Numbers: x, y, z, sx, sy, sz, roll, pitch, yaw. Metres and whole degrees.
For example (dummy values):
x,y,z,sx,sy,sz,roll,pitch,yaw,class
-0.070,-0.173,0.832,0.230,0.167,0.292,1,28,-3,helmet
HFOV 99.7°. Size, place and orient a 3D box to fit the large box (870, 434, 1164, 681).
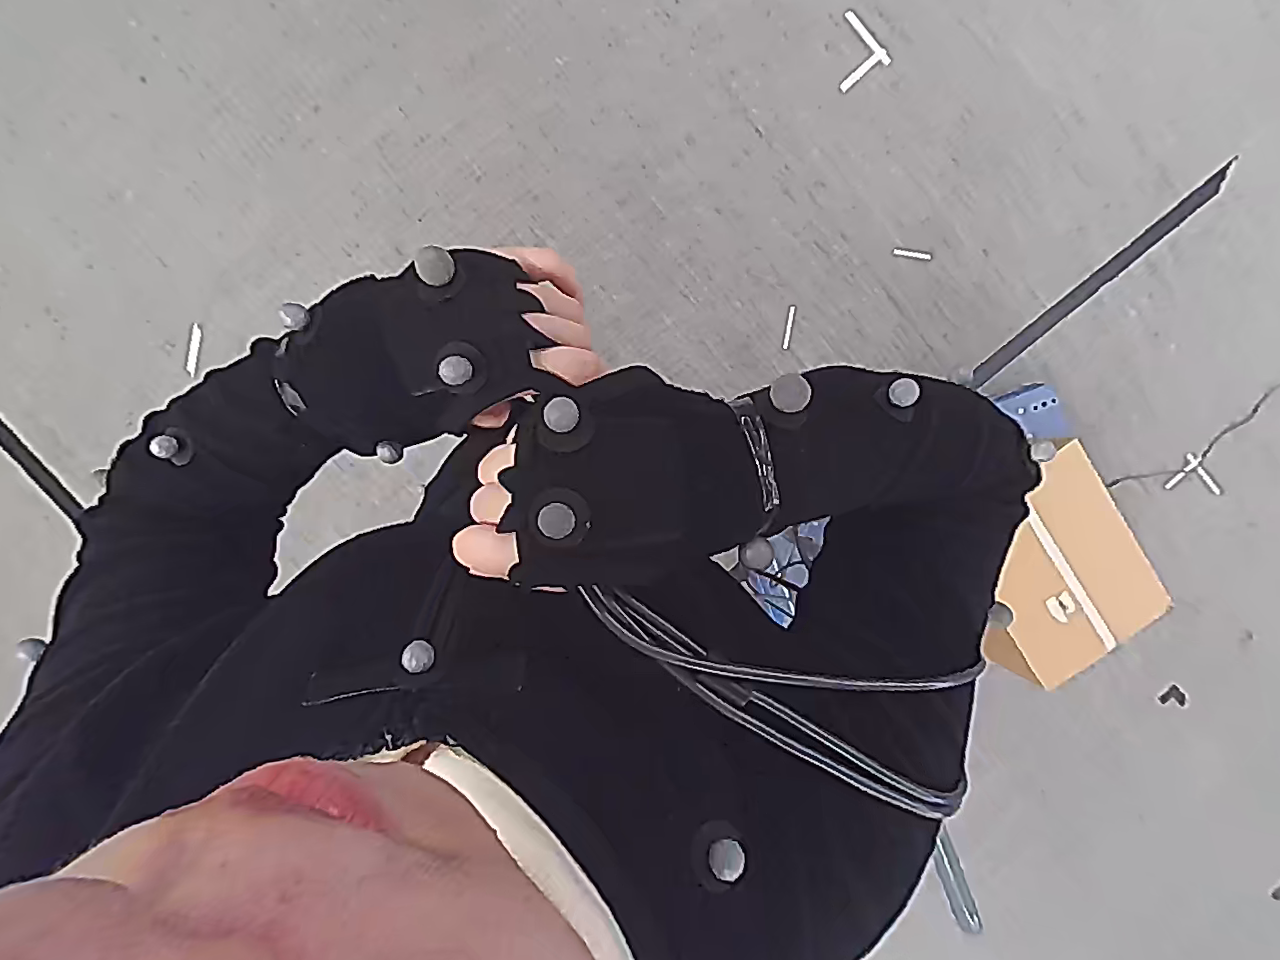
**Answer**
x,y,z,sx,sy,sz,roll,pitch,yaw,class
0.804,0.146,1.208,0.320,0.320,0.408,-33,95,0,large box
